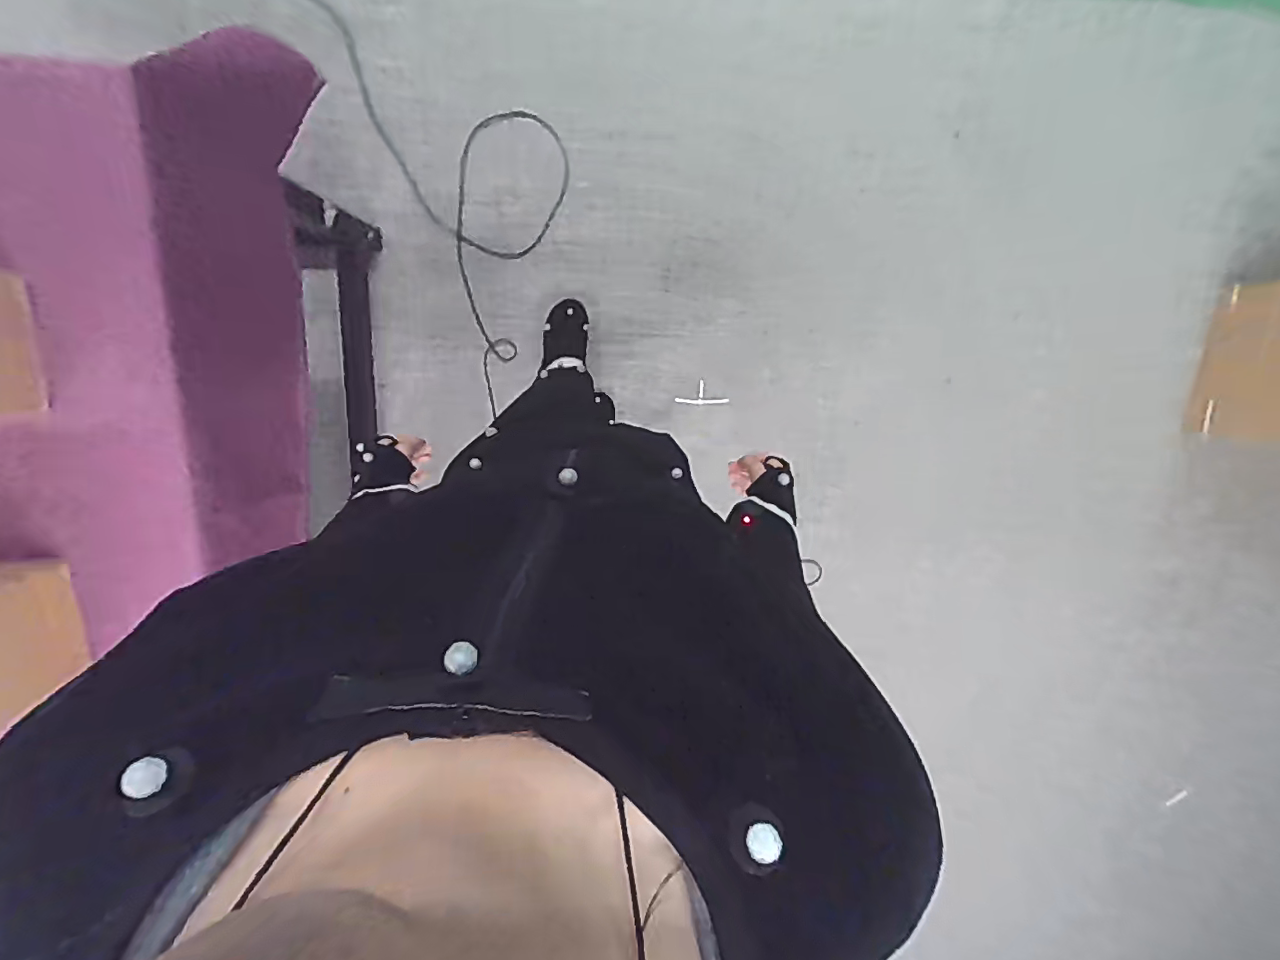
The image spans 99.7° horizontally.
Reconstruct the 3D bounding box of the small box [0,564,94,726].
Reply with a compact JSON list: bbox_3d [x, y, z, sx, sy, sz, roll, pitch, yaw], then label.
[{"bbox_3d":[-0.869,0.221,0.695,0.168,0.176,0.179,-2,101,-2],"label":"small box"}]
